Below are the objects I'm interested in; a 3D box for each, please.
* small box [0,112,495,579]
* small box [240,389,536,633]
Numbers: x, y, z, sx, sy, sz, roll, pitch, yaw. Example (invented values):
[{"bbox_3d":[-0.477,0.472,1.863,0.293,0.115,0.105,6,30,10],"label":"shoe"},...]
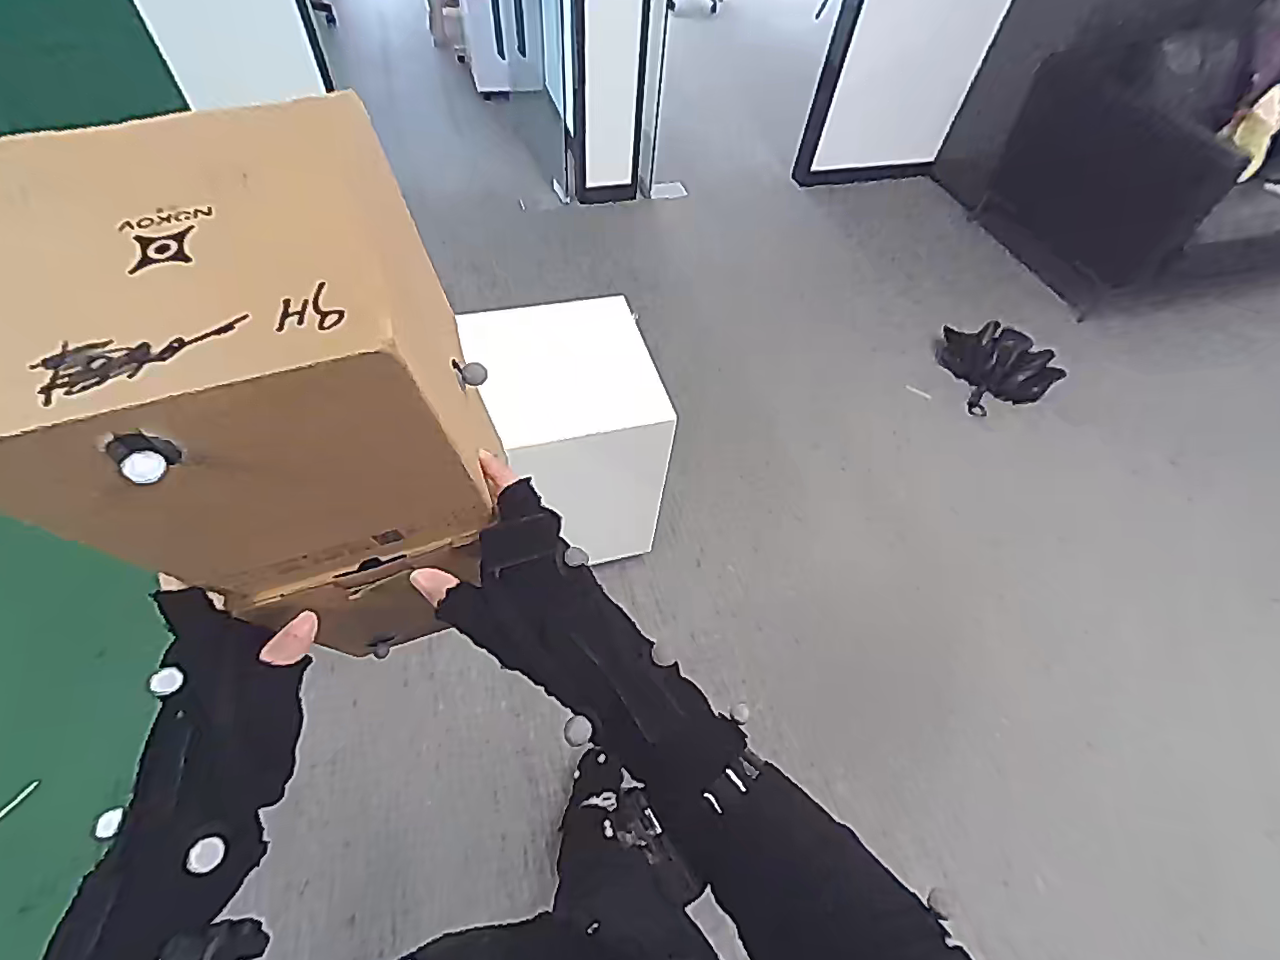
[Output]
[{"bbox_3d":[-0.195,-0.067,0.311,0.168,0.176,0.179,-16,63,-8],"label":"small box"},{"bbox_3d":[-0.195,0.015,0.452,0.168,0.176,0.179,-17,63,-8],"label":"small box"}]
